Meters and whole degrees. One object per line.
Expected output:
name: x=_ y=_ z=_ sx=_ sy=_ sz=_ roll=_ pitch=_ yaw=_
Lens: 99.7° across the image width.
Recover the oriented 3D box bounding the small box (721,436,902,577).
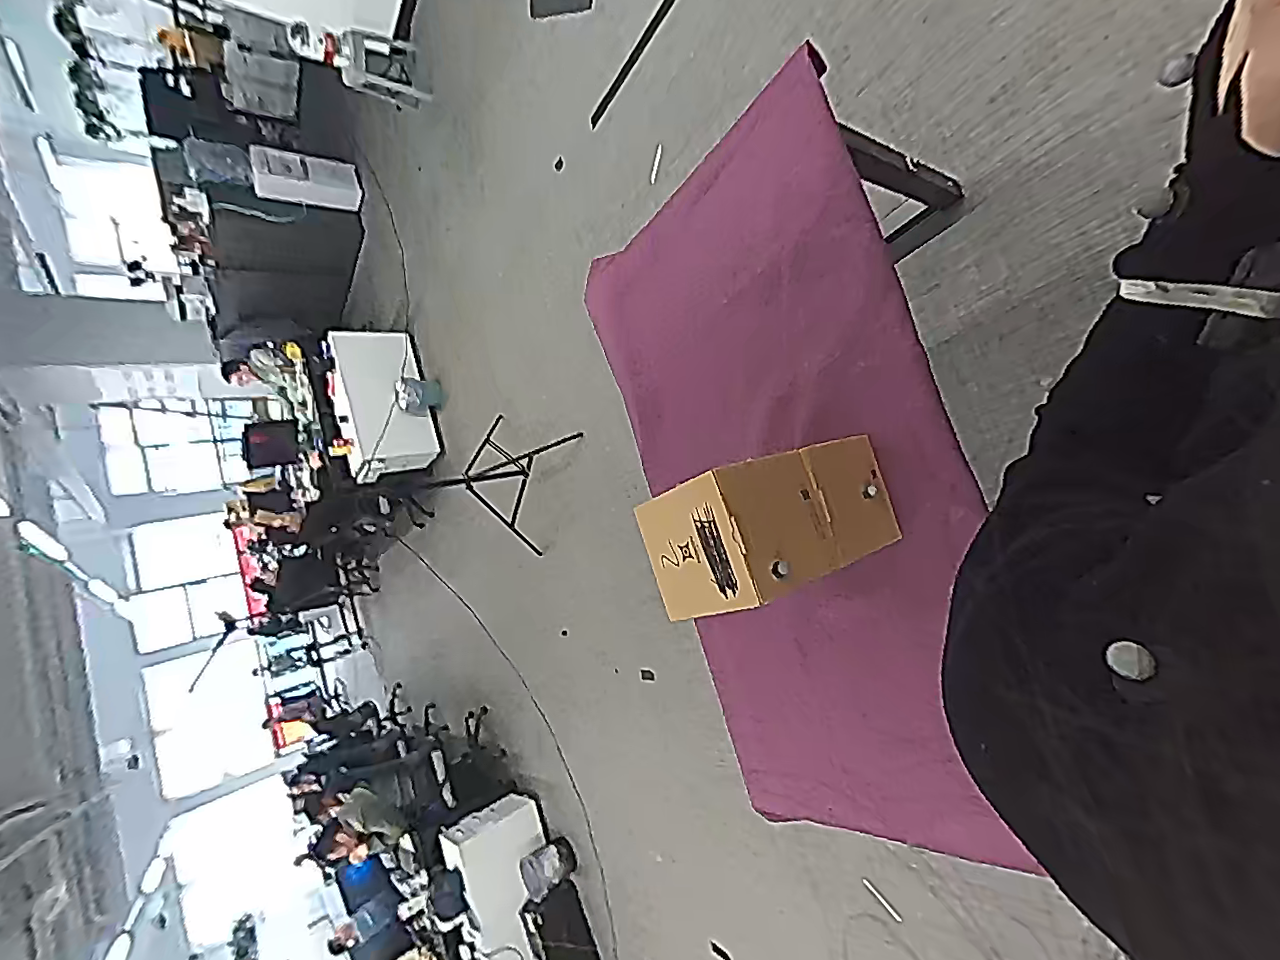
small box: x=0.259 y=0.041 z=0.827 sx=0.179 sy=0.176 sz=0.168 roll=-25 pitch=81 yaw=51
